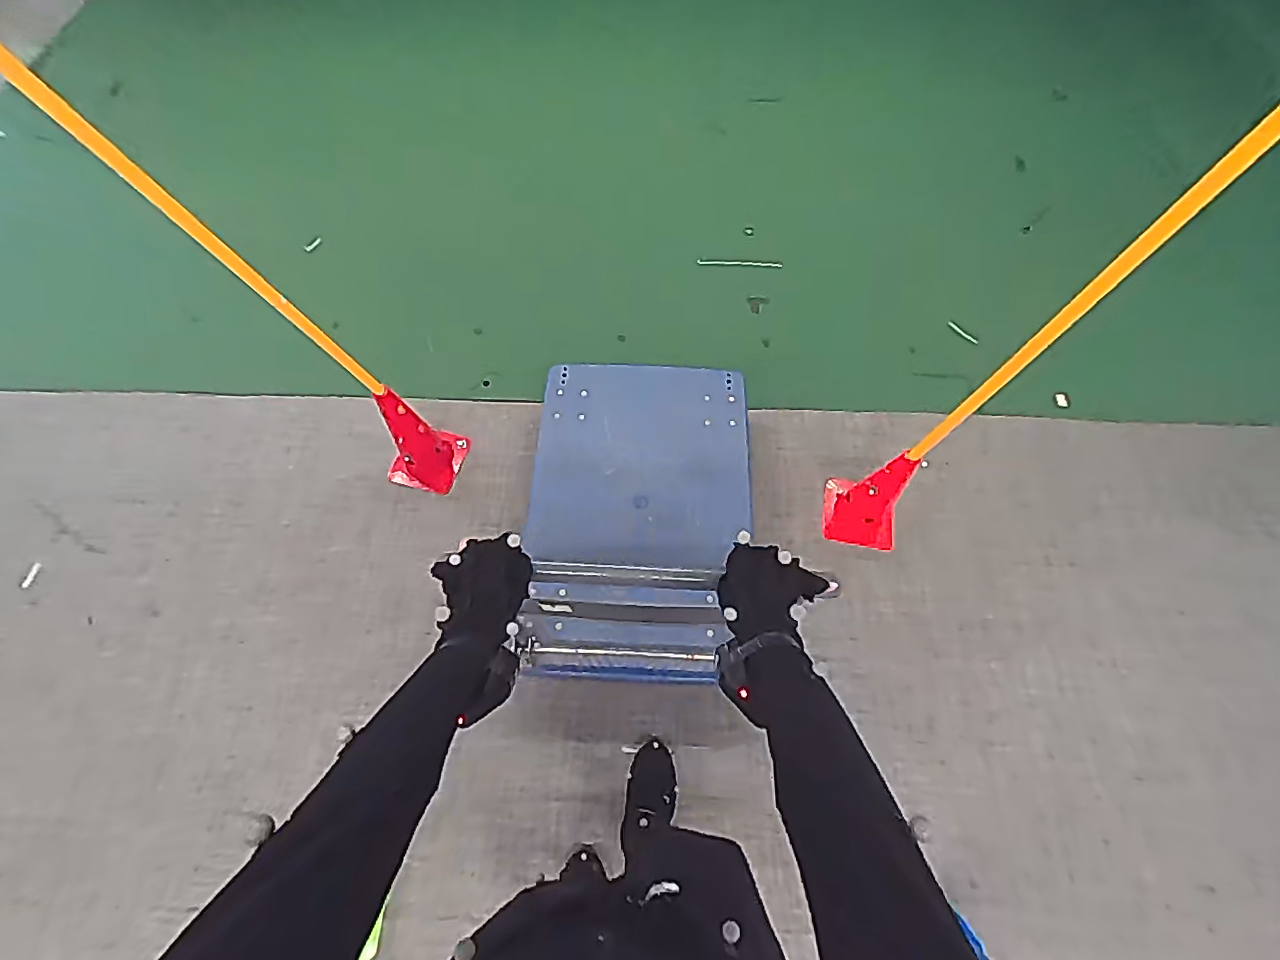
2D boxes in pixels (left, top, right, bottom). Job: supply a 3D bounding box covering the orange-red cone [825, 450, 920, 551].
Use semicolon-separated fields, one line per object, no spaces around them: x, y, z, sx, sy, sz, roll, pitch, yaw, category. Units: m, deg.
0.638;0.025;1.413;0.198;0.360;0.199;11;65;6;orange-red cone
